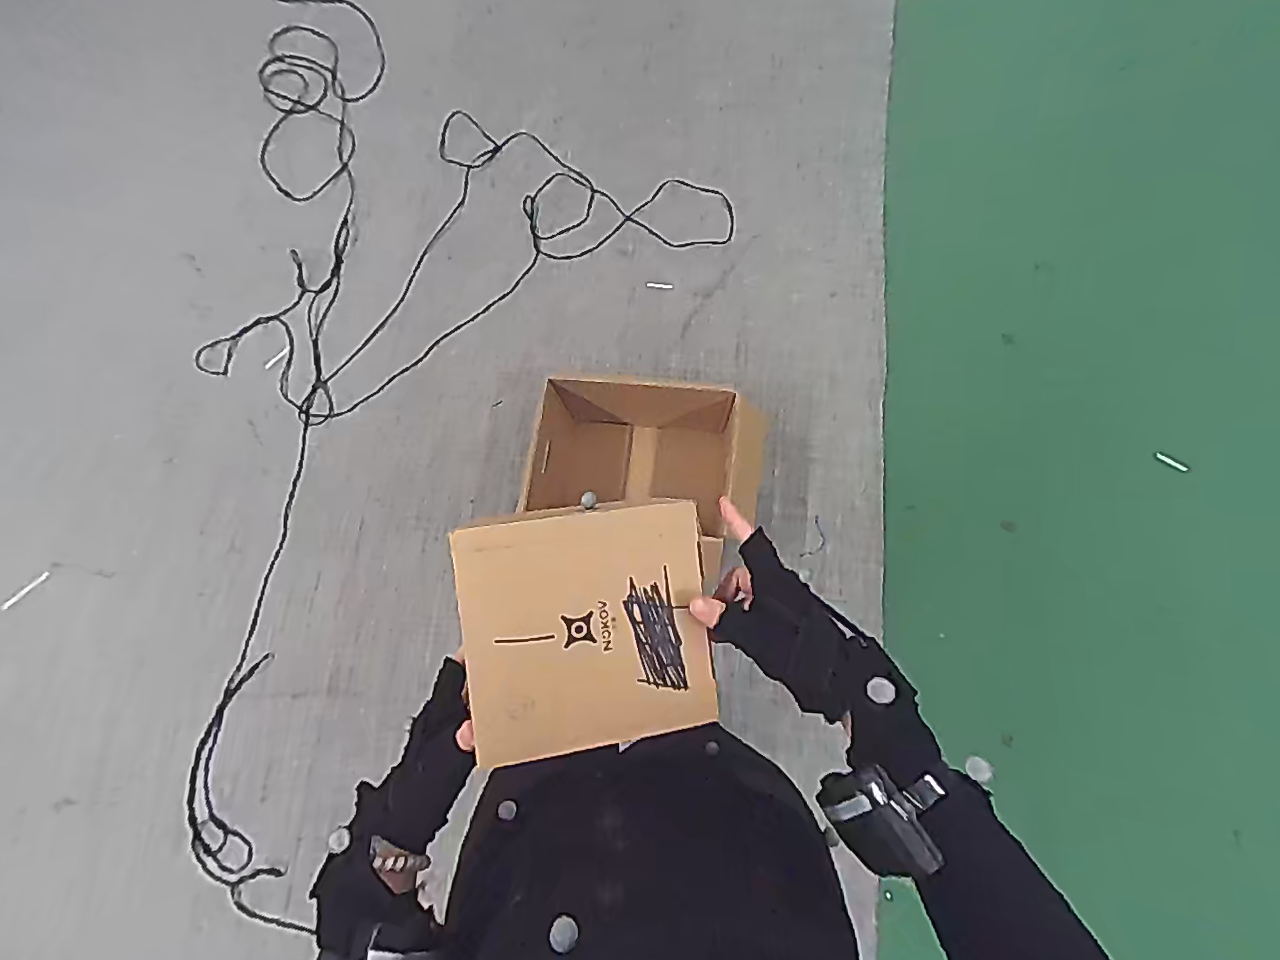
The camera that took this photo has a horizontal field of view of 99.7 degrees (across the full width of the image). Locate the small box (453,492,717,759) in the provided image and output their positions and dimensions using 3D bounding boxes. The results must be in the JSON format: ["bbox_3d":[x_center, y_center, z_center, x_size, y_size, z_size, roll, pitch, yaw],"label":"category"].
[{"bbox_3d":[-0.049,0.099,0.454,0.179,0.176,0.168,-5,90,-10],"label":"small box"}]
